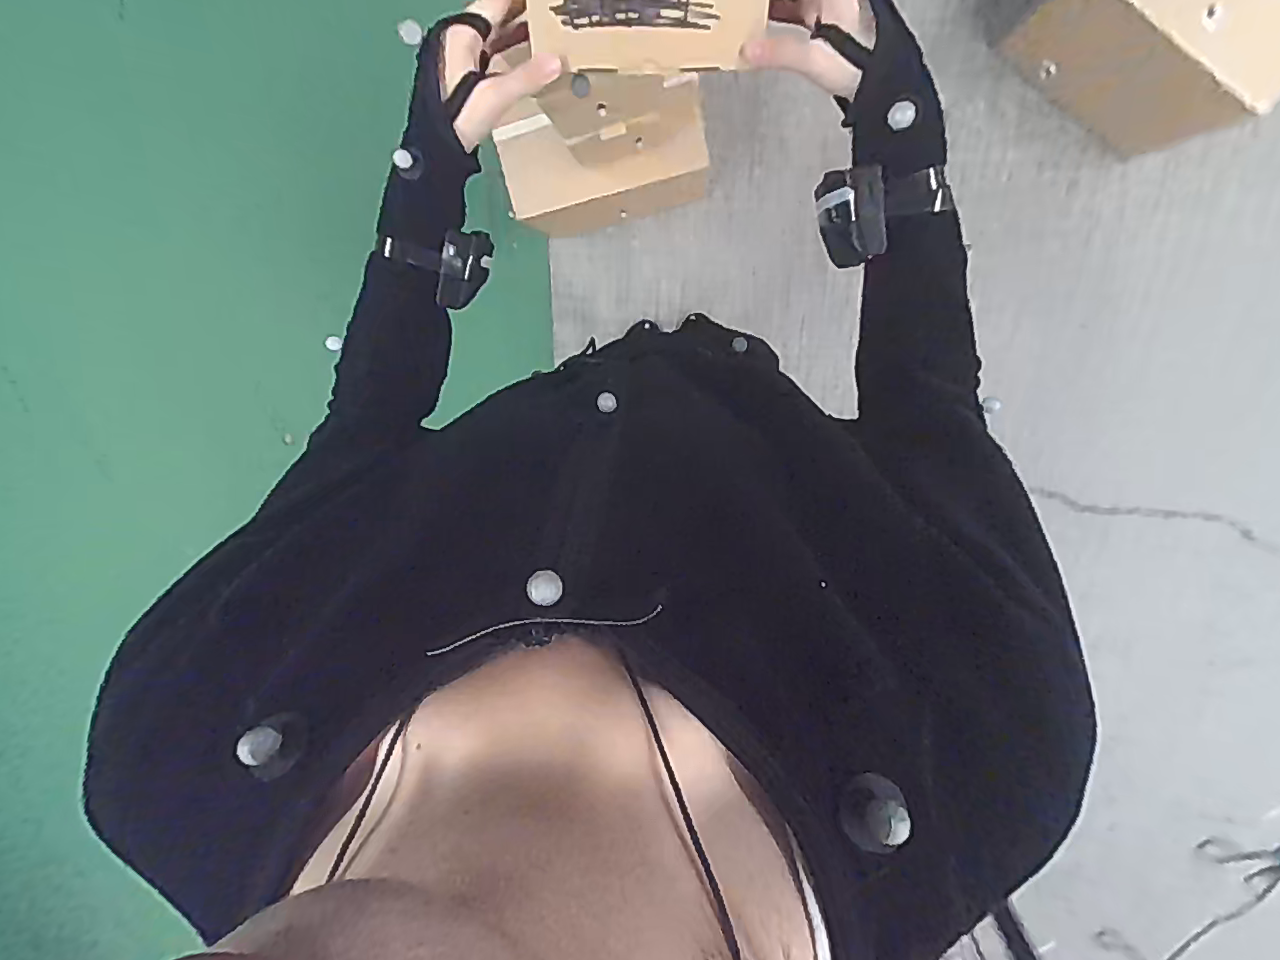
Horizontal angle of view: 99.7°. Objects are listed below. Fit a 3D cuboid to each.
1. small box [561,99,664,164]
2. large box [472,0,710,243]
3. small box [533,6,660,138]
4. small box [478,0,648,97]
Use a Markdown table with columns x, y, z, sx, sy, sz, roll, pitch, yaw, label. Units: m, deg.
| x | y | z | sx | sy | sz | roll | pitch | yaw | label |
| --- | --- | --- | --- | --- | --- | --- | --- | --- | --- |
| -0.057 | -0.670 | 0.934 | 0.168 | 0.176 | 0.179 | -11 | 105 | 9 | small box |
| -0.076 | -0.743 | 1.170 | 0.408 | 0.320 | 0.320 | -11 | 104 | 11 | large box |
| -0.071 | -0.627 | 0.777 | 0.179 | 0.176 | 0.168 | -12 | 105 | 10 | small box |
| -0.090 | -0.582 | 0.620 | 0.179 | 0.176 | 0.168 | -12 | 105 | 8 | small box |
